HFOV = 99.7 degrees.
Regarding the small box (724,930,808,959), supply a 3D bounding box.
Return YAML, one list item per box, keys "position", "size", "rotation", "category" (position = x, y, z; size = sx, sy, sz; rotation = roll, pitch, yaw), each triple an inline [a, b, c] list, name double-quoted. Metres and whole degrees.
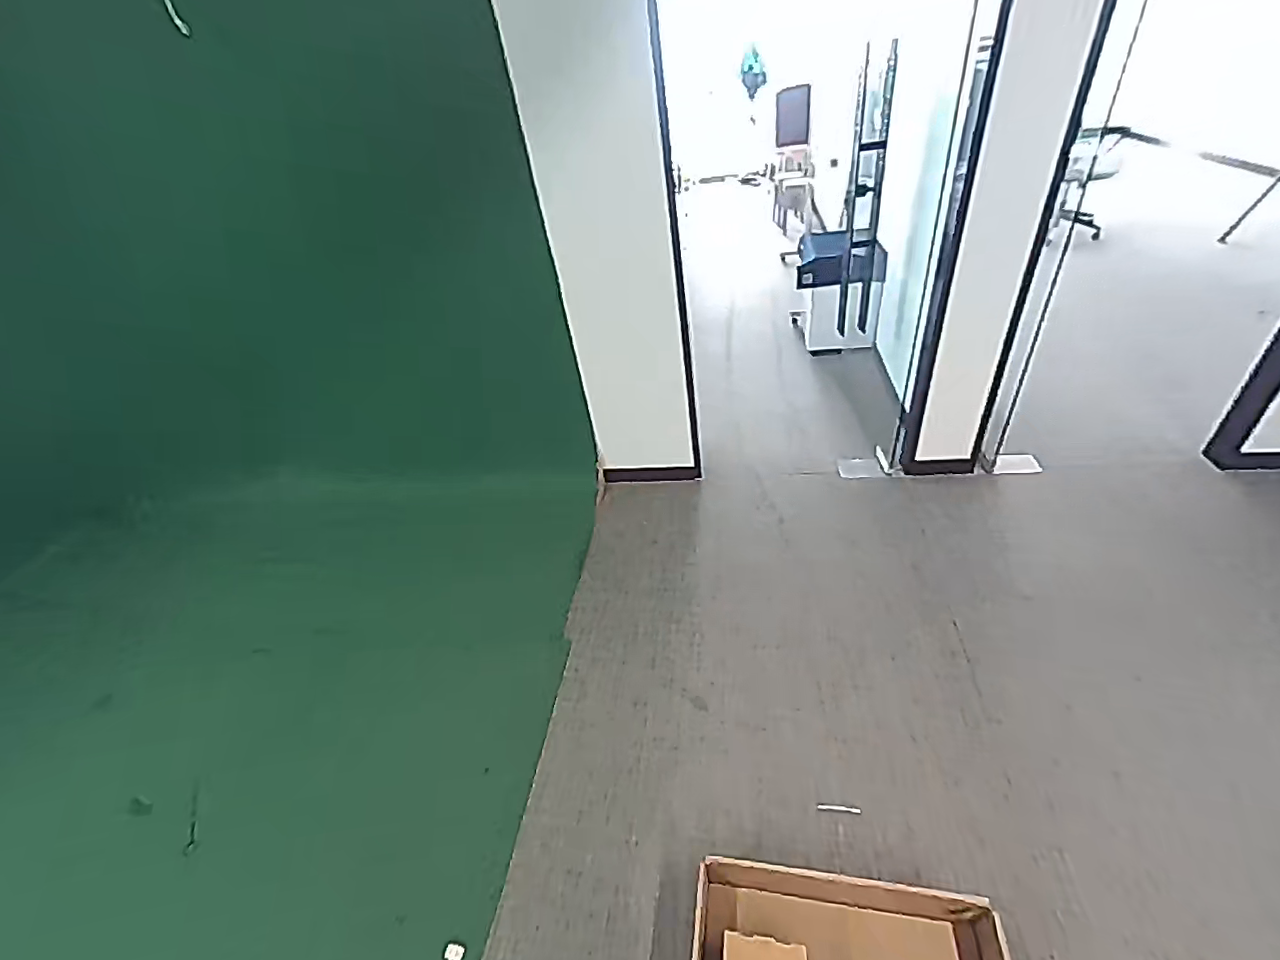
- position: [0.253, 1.053, 1.090]
  size: [0.168, 0.176, 0.179]
  rotation: [1, 39, 13]
  category: "small box"
